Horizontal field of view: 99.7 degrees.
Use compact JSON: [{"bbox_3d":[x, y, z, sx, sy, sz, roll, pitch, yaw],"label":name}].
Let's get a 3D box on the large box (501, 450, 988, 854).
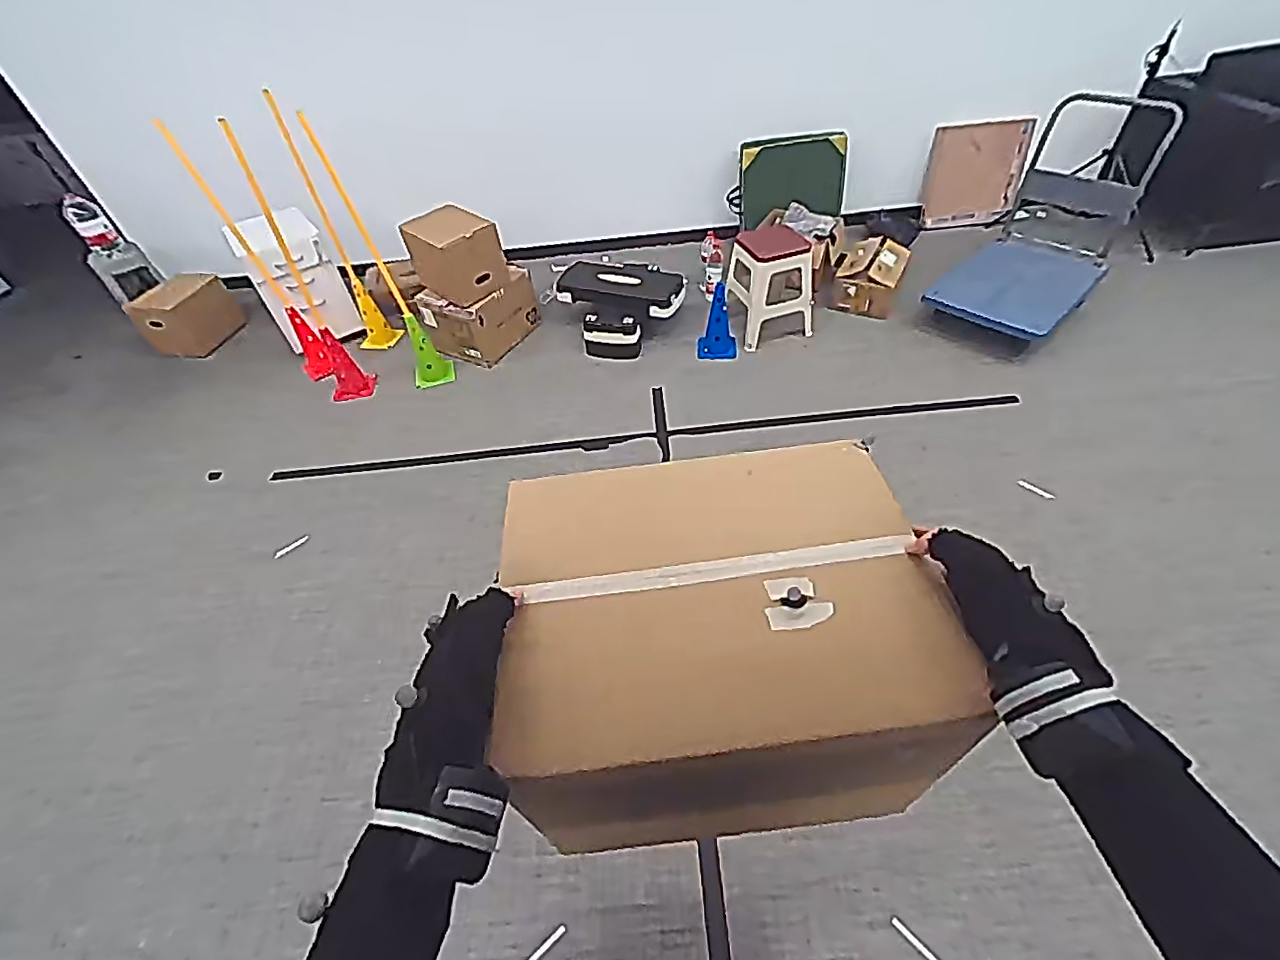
[{"bbox_3d":[0.080,0.202,0.636,0.408,0.320,0.320,-7,46,-1],"label":"large box"}]
